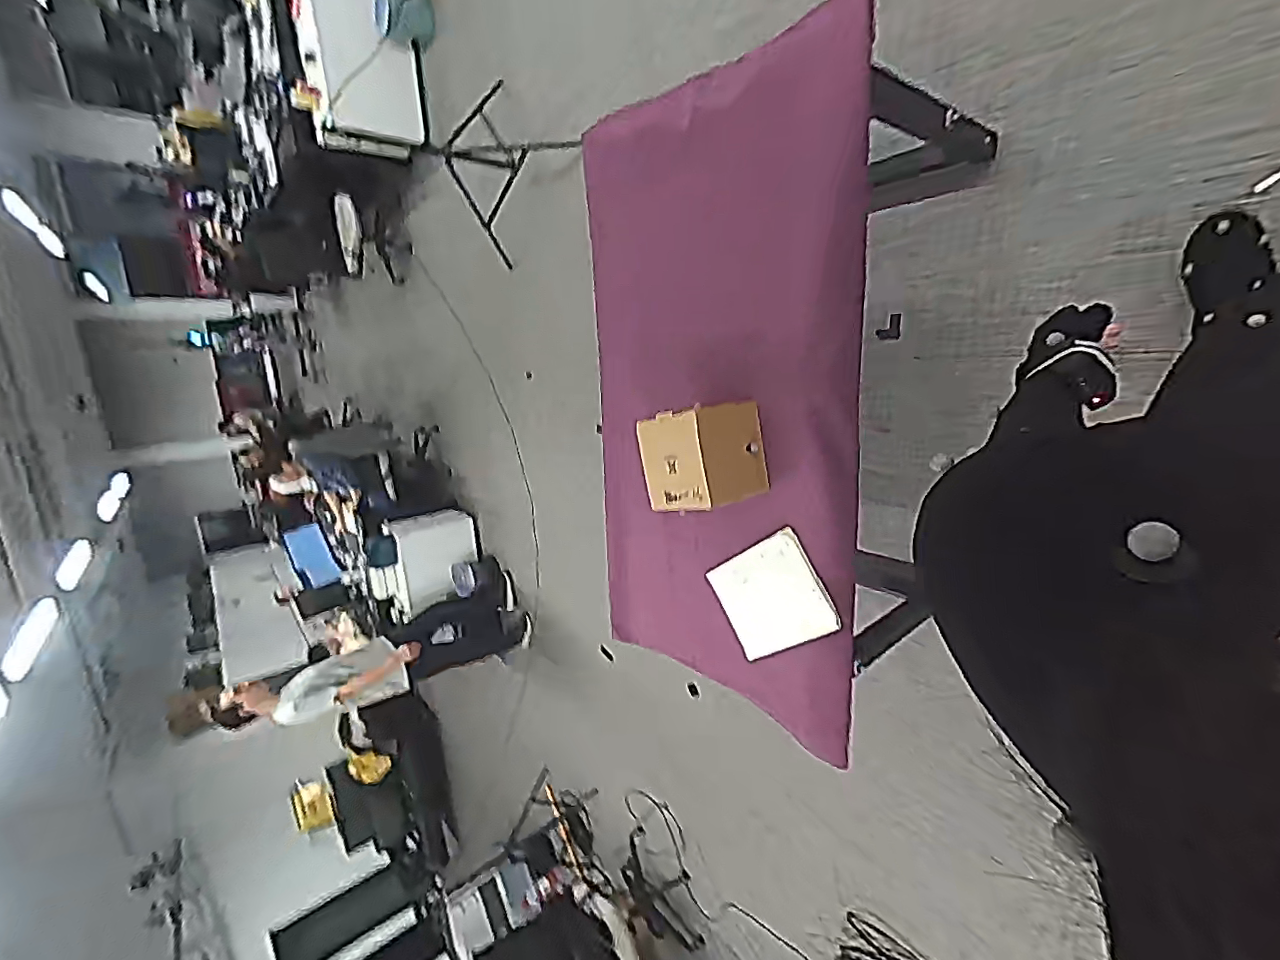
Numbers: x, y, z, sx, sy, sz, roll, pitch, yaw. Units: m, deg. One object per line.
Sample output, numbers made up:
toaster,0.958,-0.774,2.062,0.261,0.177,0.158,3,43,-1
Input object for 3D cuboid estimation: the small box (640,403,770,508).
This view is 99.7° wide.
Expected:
small box,0.126,-0.048,1.032,0.168,0.176,0.179,-5,96,53
